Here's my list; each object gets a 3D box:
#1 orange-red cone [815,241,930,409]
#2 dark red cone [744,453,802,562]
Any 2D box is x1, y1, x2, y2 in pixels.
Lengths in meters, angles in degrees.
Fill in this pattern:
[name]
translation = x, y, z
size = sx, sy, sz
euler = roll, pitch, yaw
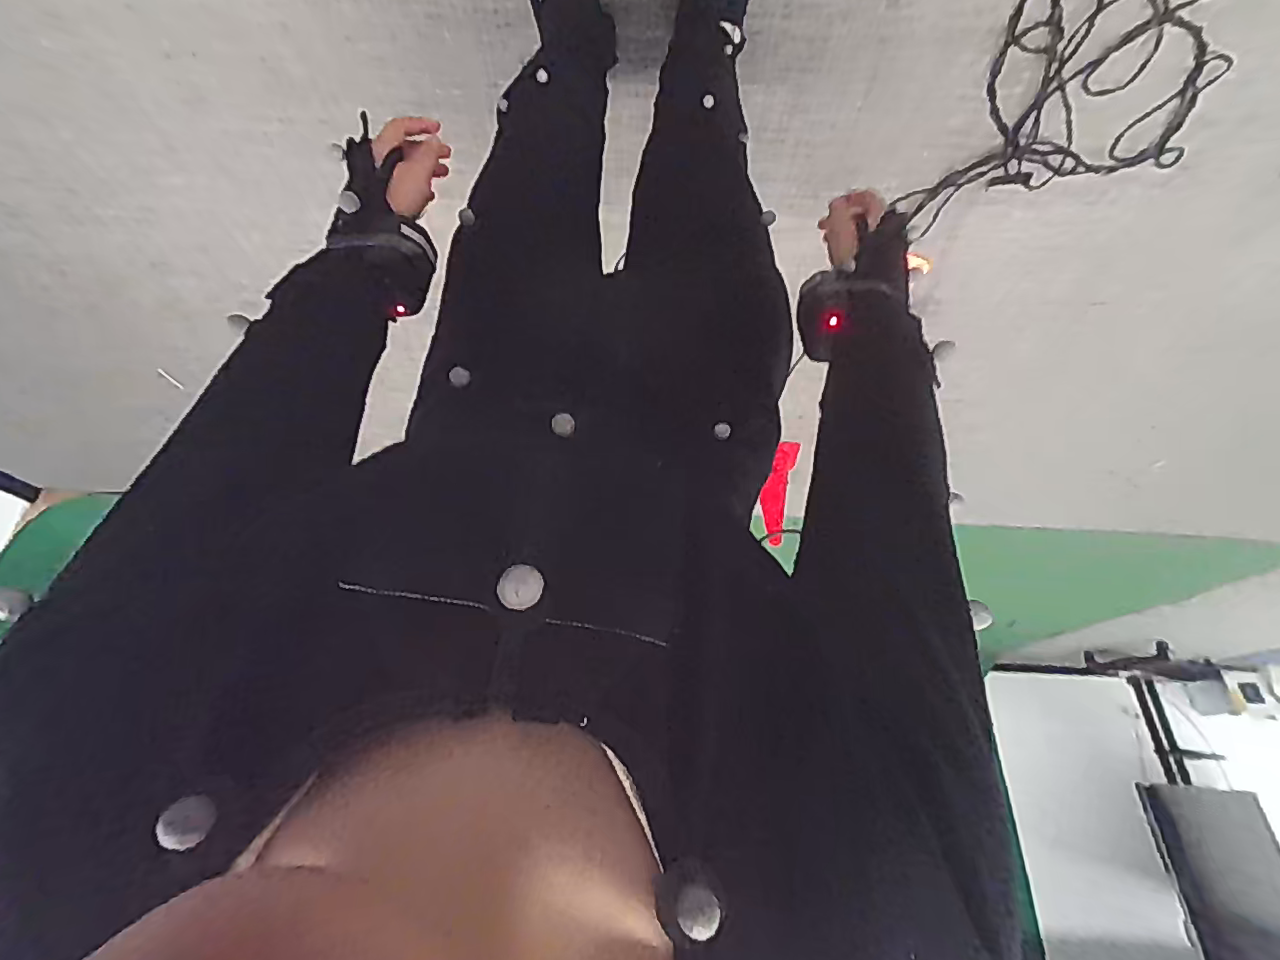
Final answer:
[orange-red cone]
translation = 0.536, -0.314, 1.195
size = 0.199, 0.360, 0.198
euler = 11, 152, -16
[dark red cone]
translation = 0.479, 0.099, 1.920
size = 0.202, 0.394, 0.201
euler = -1, 154, 8
